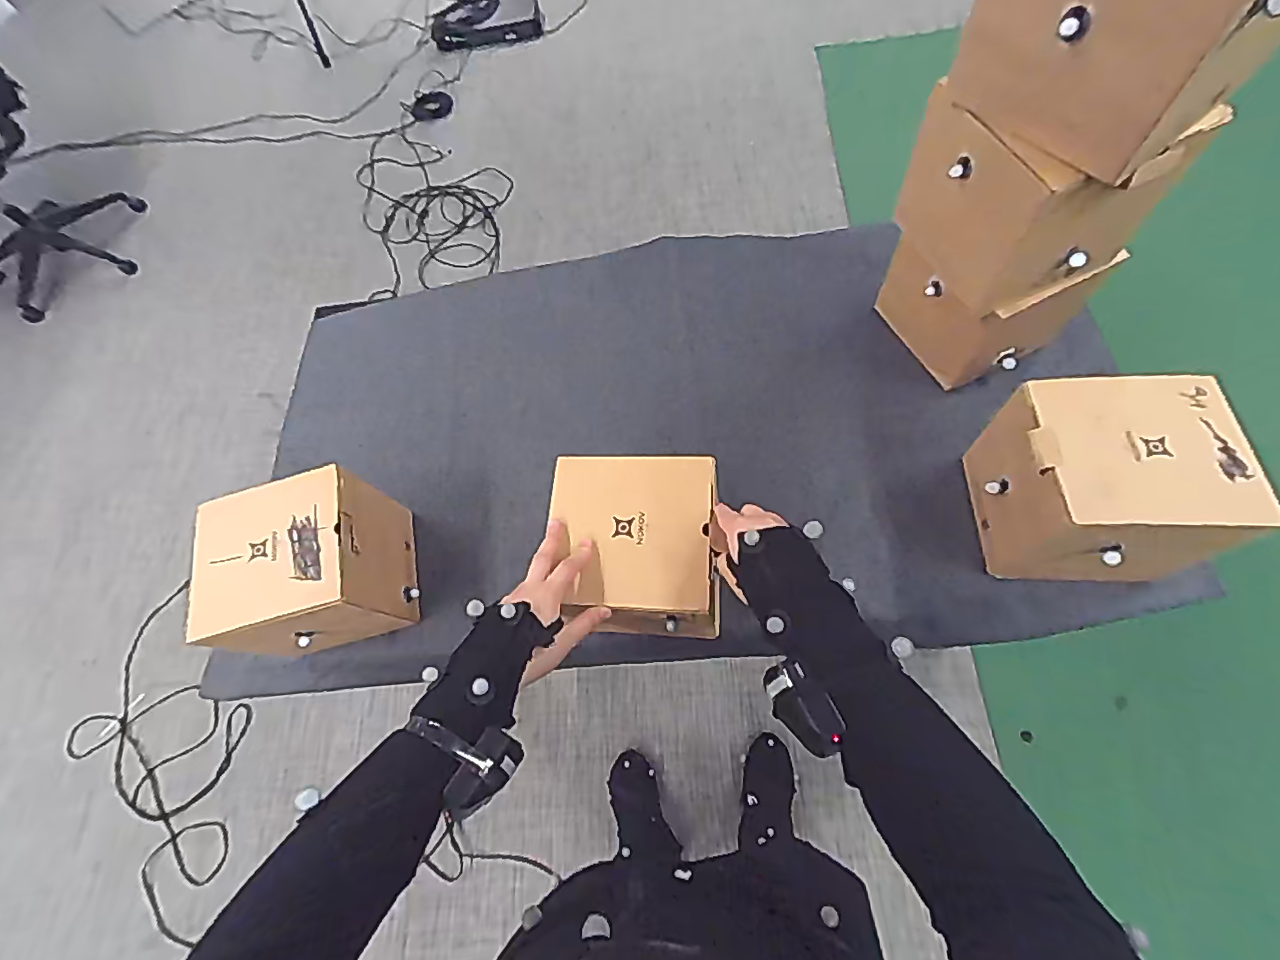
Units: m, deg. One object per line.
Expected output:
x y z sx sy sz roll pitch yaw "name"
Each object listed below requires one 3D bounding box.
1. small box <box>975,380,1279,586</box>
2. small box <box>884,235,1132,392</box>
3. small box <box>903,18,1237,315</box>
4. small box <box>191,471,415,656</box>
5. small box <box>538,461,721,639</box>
0.489 0.011 0.580 0.179 0.176 0.168 0 63 9 "small box"
0.450 -0.248 0.702 0.168 0.176 0.179 -27 68 0 "small box"
0.403 -0.307 0.554 0.168 0.176 0.179 -23 66 2 "small box"
-0.398 0.112 0.671 0.179 0.176 0.168 -16 66 2 "small box"
0.002 0.087 0.626 0.179 0.176 0.168 0 67 9 "small box"
